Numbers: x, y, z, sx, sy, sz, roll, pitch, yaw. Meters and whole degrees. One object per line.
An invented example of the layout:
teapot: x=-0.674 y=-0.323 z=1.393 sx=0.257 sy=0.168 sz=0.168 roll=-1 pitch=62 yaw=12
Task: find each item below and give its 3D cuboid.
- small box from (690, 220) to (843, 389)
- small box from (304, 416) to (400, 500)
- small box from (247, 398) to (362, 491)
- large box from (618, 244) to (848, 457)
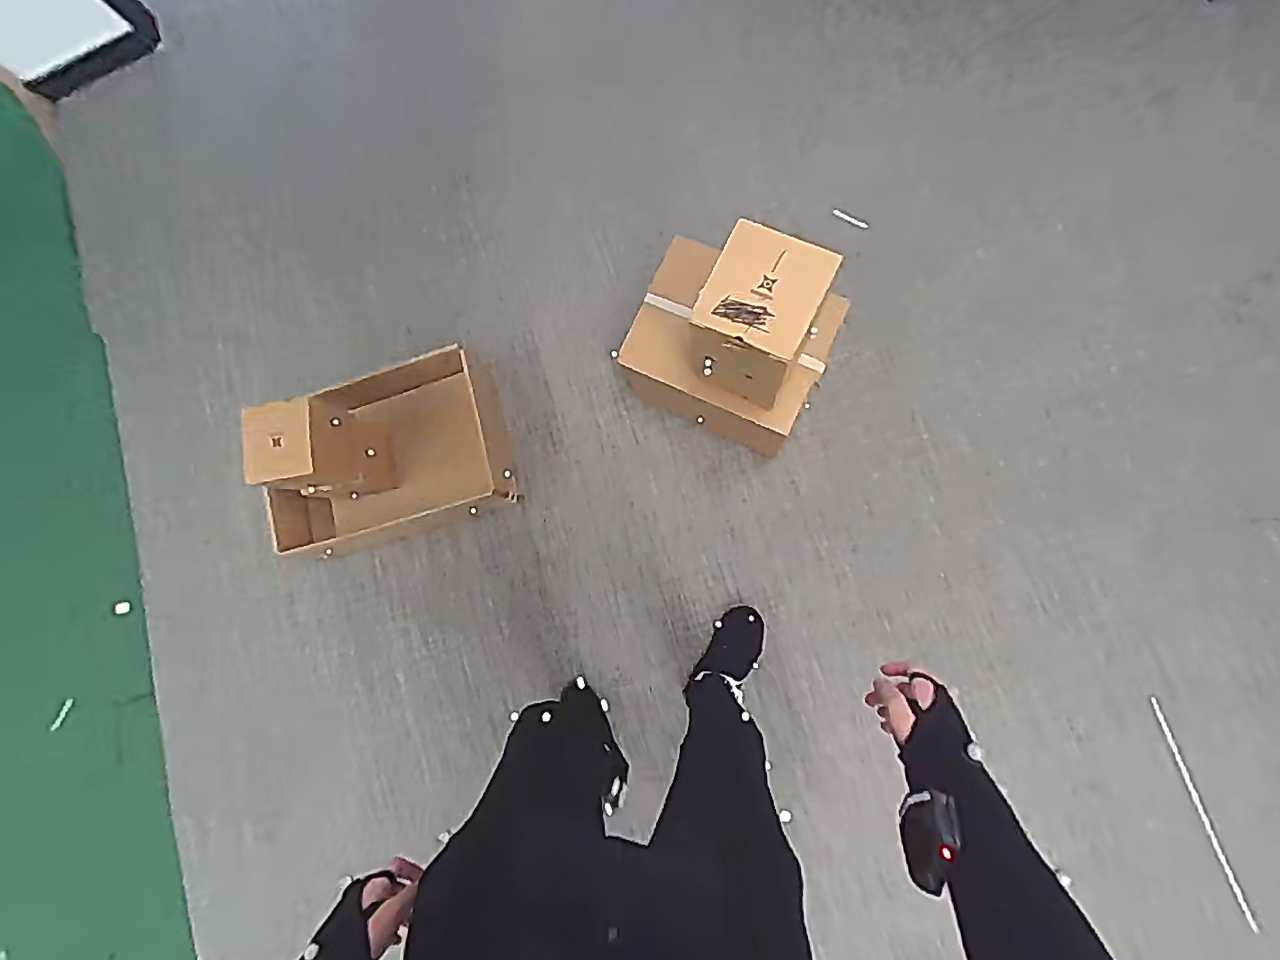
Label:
small box: x=0.198 y=-0.269 z=0.866 sx=0.168 sy=0.176 sz=0.179 roll=27 pitch=88 yaw=12
small box: x=-0.766 y=-0.053 z=1.437 sx=0.168 sy=0.176 sz=0.179 roll=-12 pitch=83 yaw=5
small box: x=-0.786 y=-0.077 z=1.277 sx=0.168 sy=0.176 sz=0.179 roll=-8 pitch=83 yaw=6
large box: x=0.218 y=-0.286 z=1.284 sx=0.408 sy=0.320 sz=0.320 roll=25 pitch=87 yaw=12
